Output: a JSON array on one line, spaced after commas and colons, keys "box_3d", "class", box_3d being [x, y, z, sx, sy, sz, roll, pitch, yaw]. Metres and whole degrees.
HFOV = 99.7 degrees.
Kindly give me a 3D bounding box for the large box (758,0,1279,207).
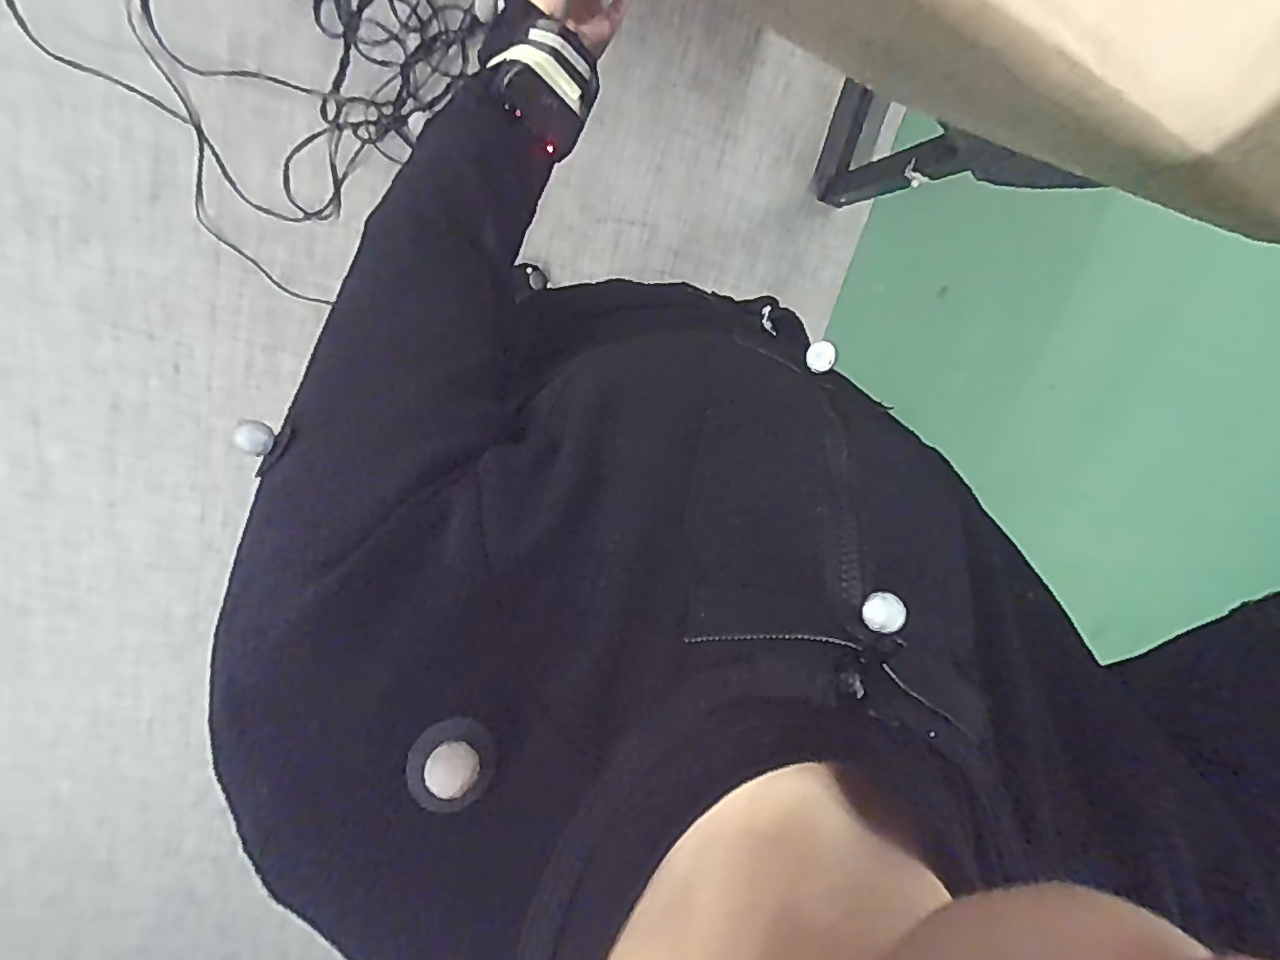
[{"box_3d": [0.162, -0.383, 0.226, 0.320, 0.408, 0.320, 12, 131, -20], "class": "large box"}]
